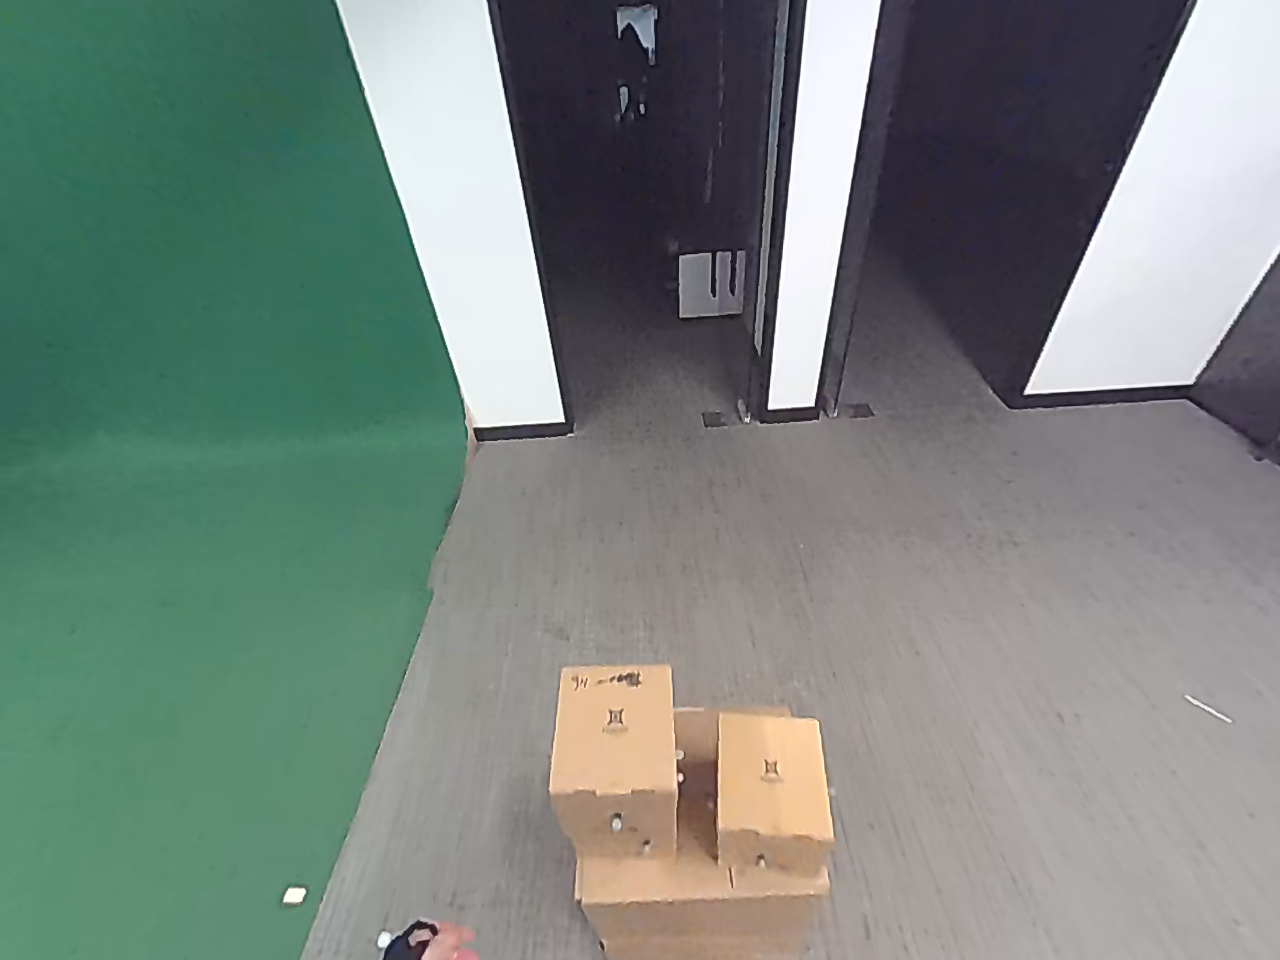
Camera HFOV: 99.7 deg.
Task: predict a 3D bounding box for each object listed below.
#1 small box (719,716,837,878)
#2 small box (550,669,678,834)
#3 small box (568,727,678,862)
[{"bbox_3d":[0.213,0.514,0.882,0.168,0.176,0.179,0,40,8],"label":"small box"},{"bbox_3d":[-0.030,0.400,0.792,0.168,0.176,0.179,-2,41,1],"label":"small box"},{"bbox_3d":[-0.020,0.518,0.906,0.168,0.176,0.179,-1,40,2],"label":"small box"}]
